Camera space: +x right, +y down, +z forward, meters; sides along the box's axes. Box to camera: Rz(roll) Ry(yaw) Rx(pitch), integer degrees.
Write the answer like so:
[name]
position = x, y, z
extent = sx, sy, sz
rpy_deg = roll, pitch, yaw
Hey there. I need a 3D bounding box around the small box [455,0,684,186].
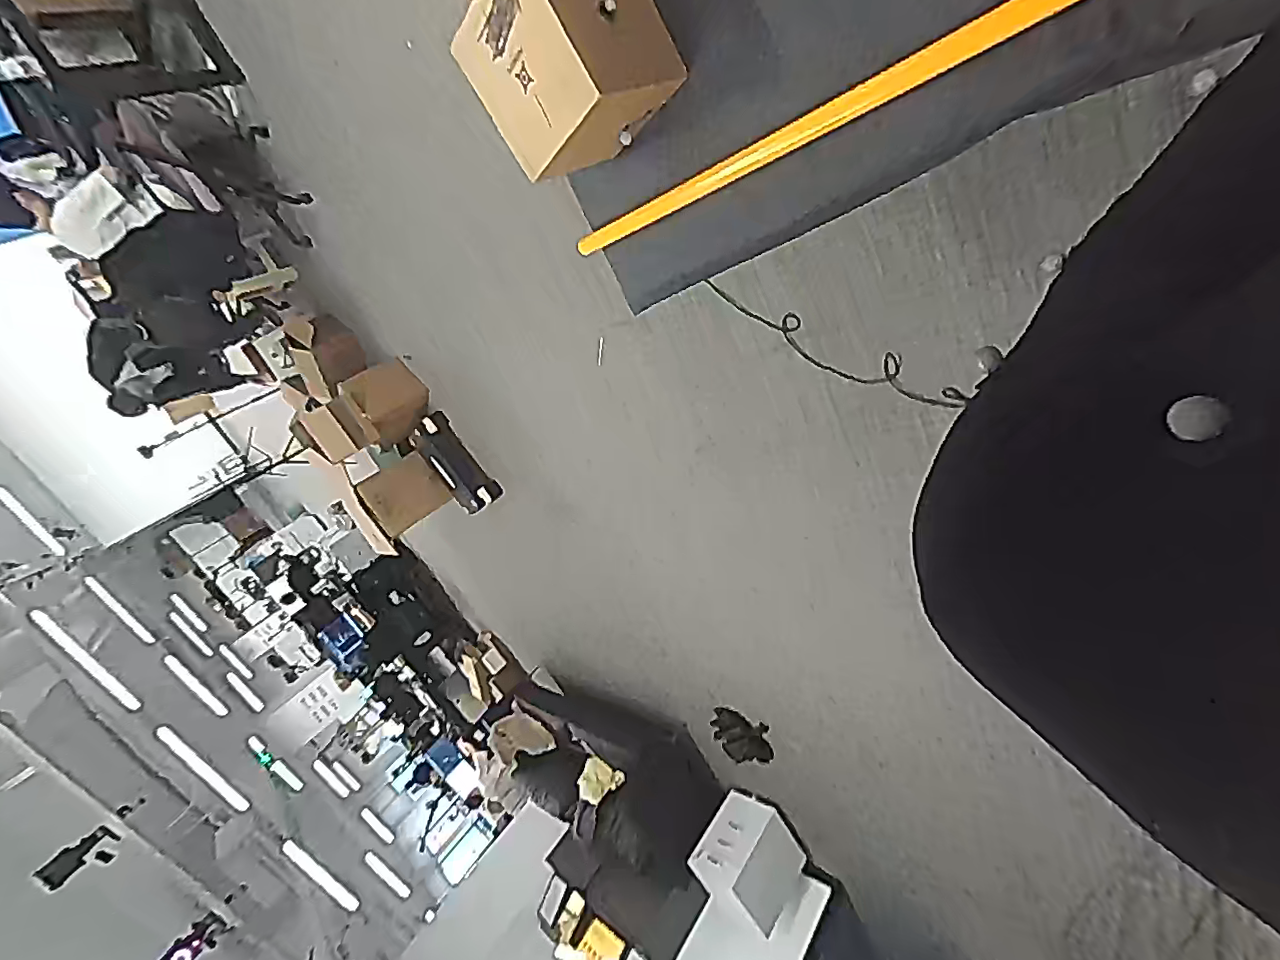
[small box]
position = -0.081, -0.499, 0.654
extent = 0.168, 0.176, 0.179
rpy_deg = -13, 114, 52
